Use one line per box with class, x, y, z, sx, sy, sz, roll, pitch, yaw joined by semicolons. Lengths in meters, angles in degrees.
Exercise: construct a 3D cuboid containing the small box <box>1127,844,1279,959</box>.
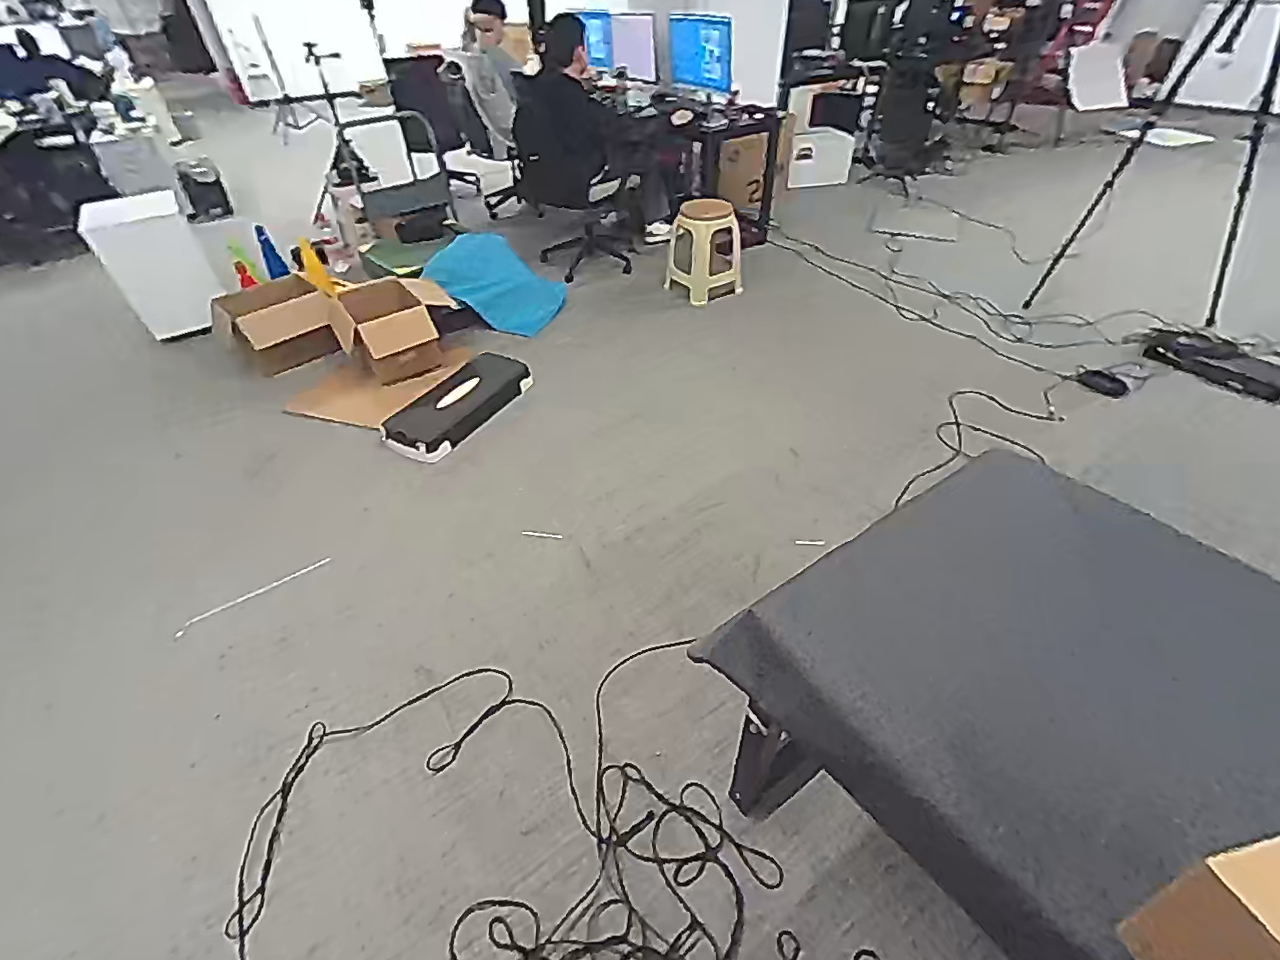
small box;0.483;0.350;0.343;0.168;0.176;0.179;-14;36;-5
